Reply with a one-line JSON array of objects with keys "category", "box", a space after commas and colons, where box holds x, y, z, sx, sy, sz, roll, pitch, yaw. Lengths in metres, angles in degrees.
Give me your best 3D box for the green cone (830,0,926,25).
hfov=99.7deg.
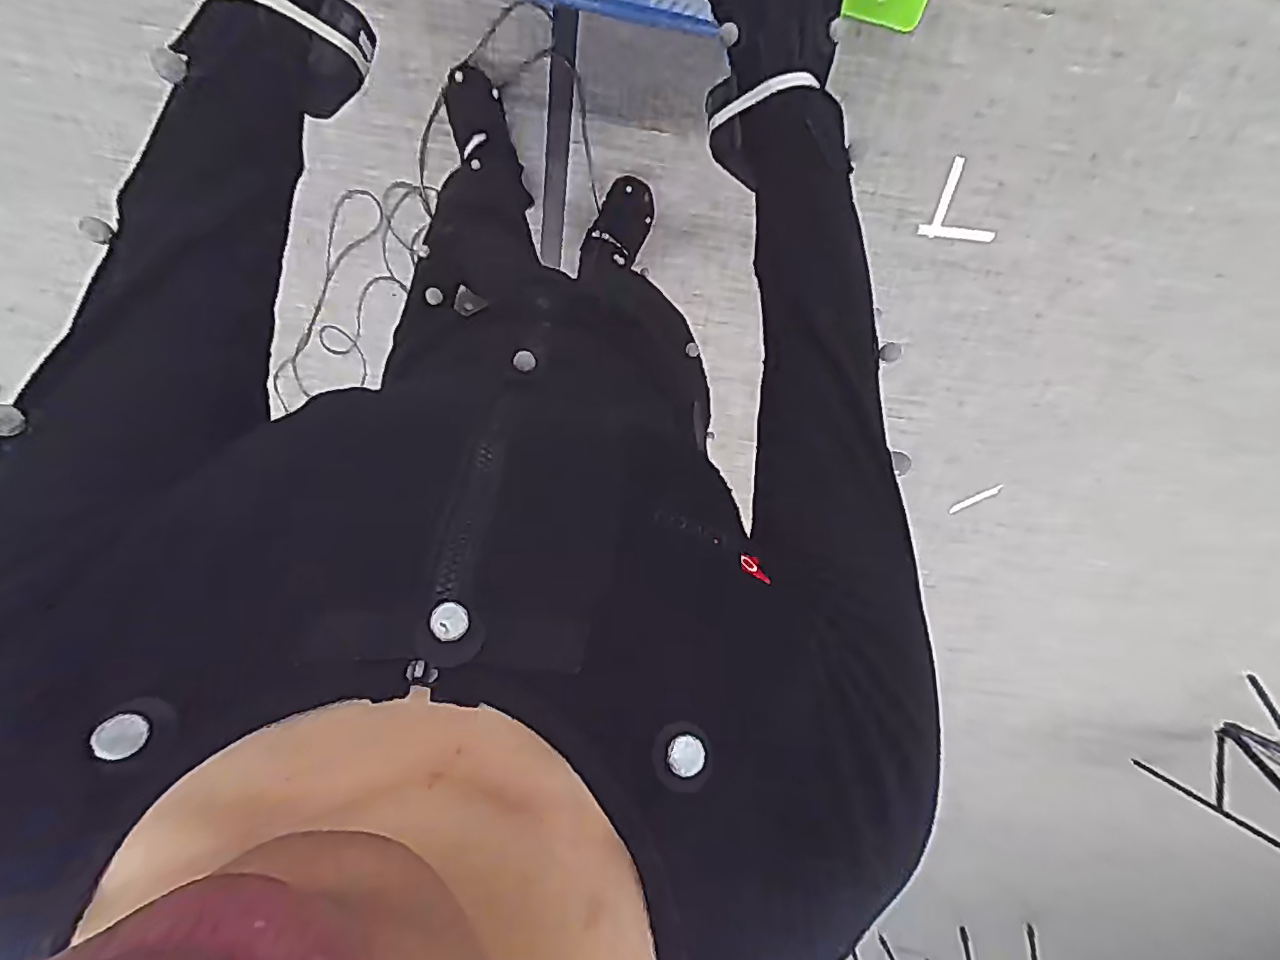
[{"category": "green cone", "box": [0.446, -0.868, 0.827, 0.202, 0.368, 0.200, 11, 123, -6]}]
